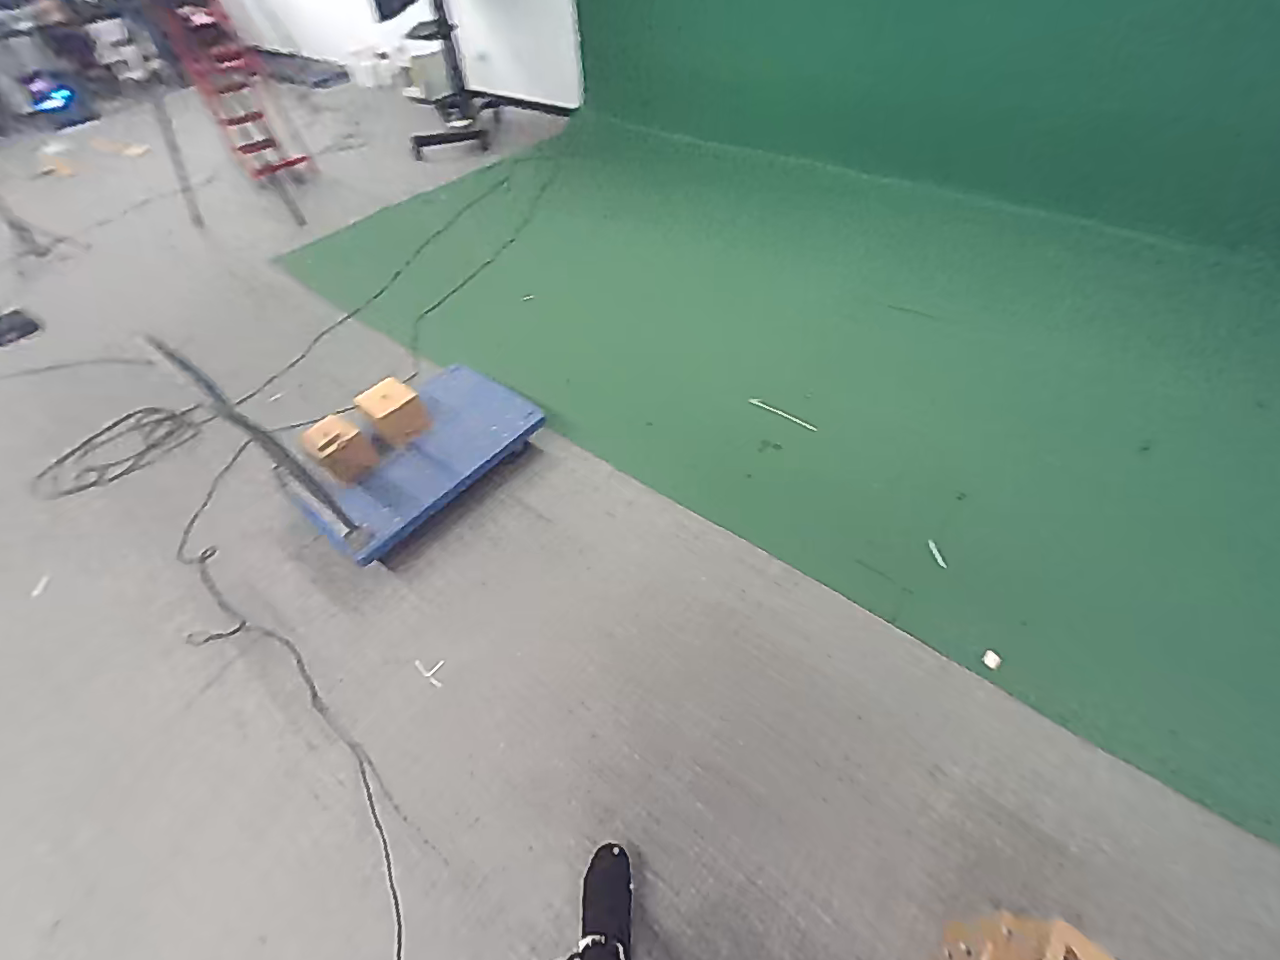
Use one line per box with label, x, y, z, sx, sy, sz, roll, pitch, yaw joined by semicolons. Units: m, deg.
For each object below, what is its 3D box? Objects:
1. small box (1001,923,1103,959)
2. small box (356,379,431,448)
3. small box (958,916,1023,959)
small box;0.667;0.838;0.834;0.179;0.176;0.168;34;59;28
small box;-0.938;-0.252;2.065;0.179;0.176;0.168;32;58;25
small box;0.676;0.936;0.966;0.179;0.176;0.168;34;59;30
